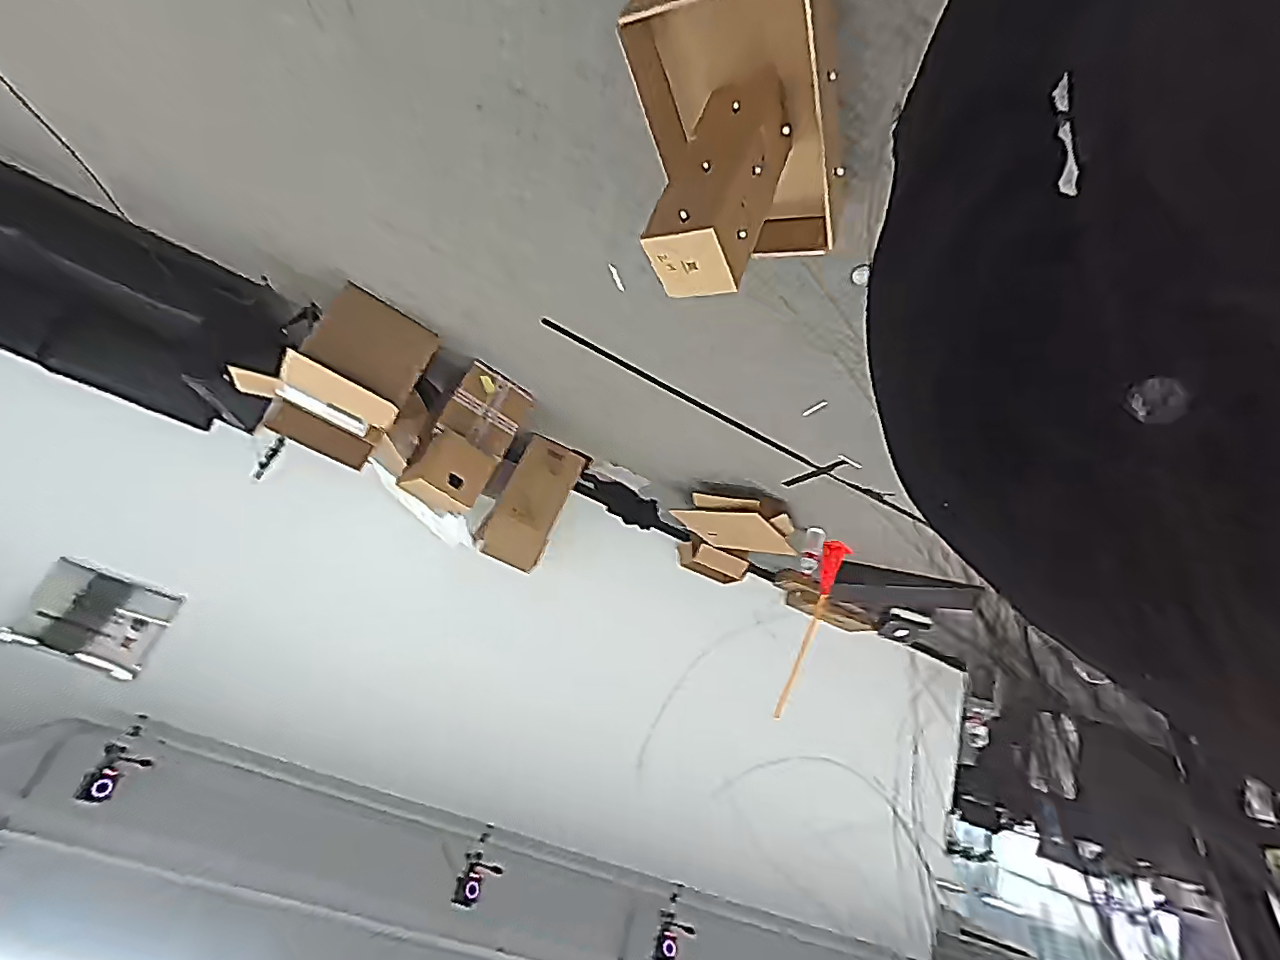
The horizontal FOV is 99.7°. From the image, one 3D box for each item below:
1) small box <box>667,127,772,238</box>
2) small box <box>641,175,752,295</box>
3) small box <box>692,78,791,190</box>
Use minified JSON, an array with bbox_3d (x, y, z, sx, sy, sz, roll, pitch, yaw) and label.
[{"bbox_3d":[0.192,-0.672,1.242,0.179,0.176,0.168,9,155,33],"label":"small box"},{"bbox_3d":[0.134,-0.530,1.178,0.179,0.176,0.168,7,153,32],"label":"small box"},{"bbox_3d":[0.247,-0.815,1.293,0.179,0.176,0.168,9,156,28],"label":"small box"}]
